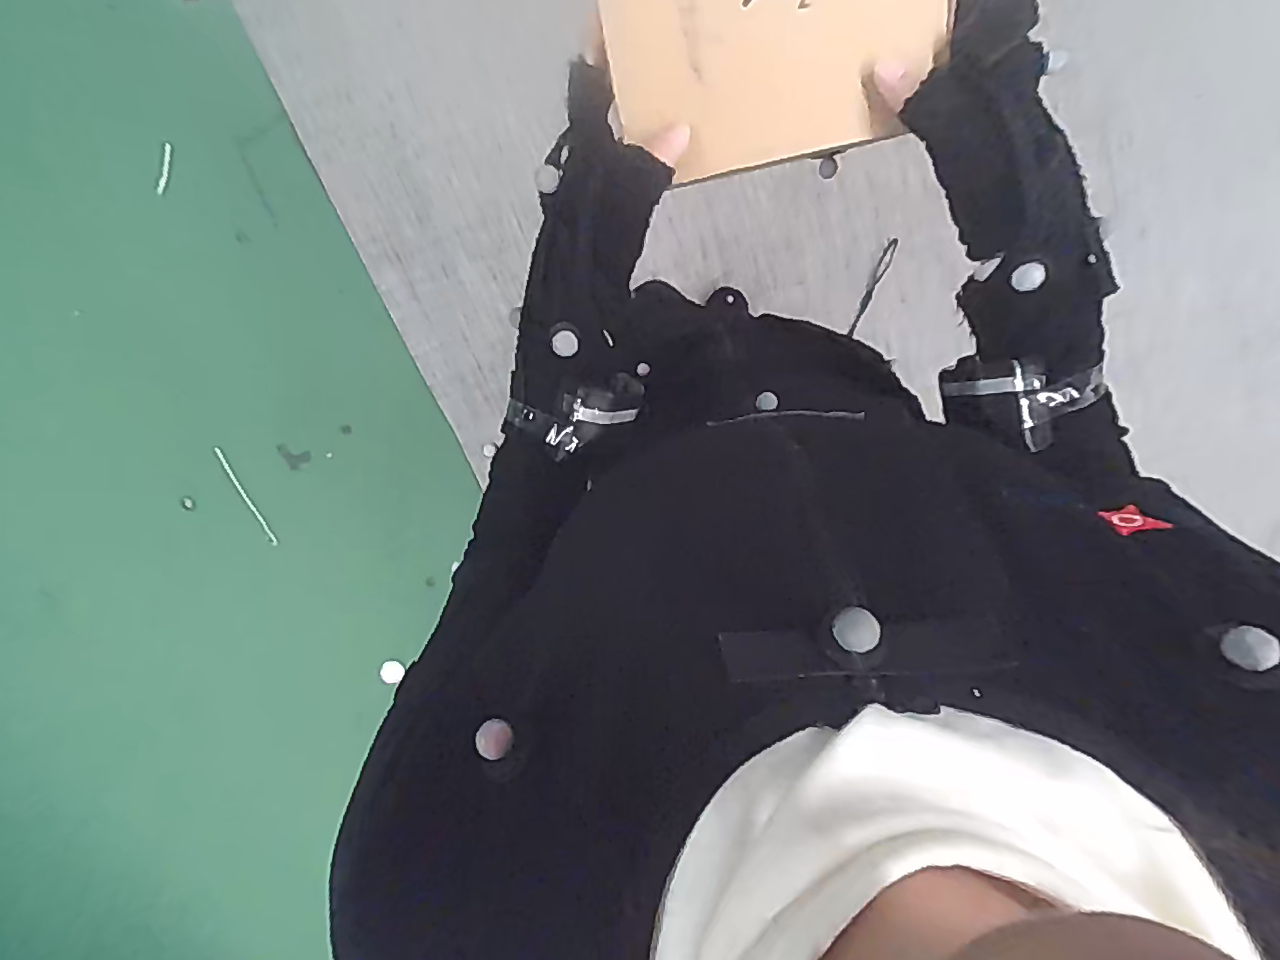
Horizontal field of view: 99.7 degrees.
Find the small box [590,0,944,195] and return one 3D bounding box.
[{"bbox_3d":[0.064,-0.289,0.340,0.179,0.176,0.168,-10,115,9],"label":"small box"}]
